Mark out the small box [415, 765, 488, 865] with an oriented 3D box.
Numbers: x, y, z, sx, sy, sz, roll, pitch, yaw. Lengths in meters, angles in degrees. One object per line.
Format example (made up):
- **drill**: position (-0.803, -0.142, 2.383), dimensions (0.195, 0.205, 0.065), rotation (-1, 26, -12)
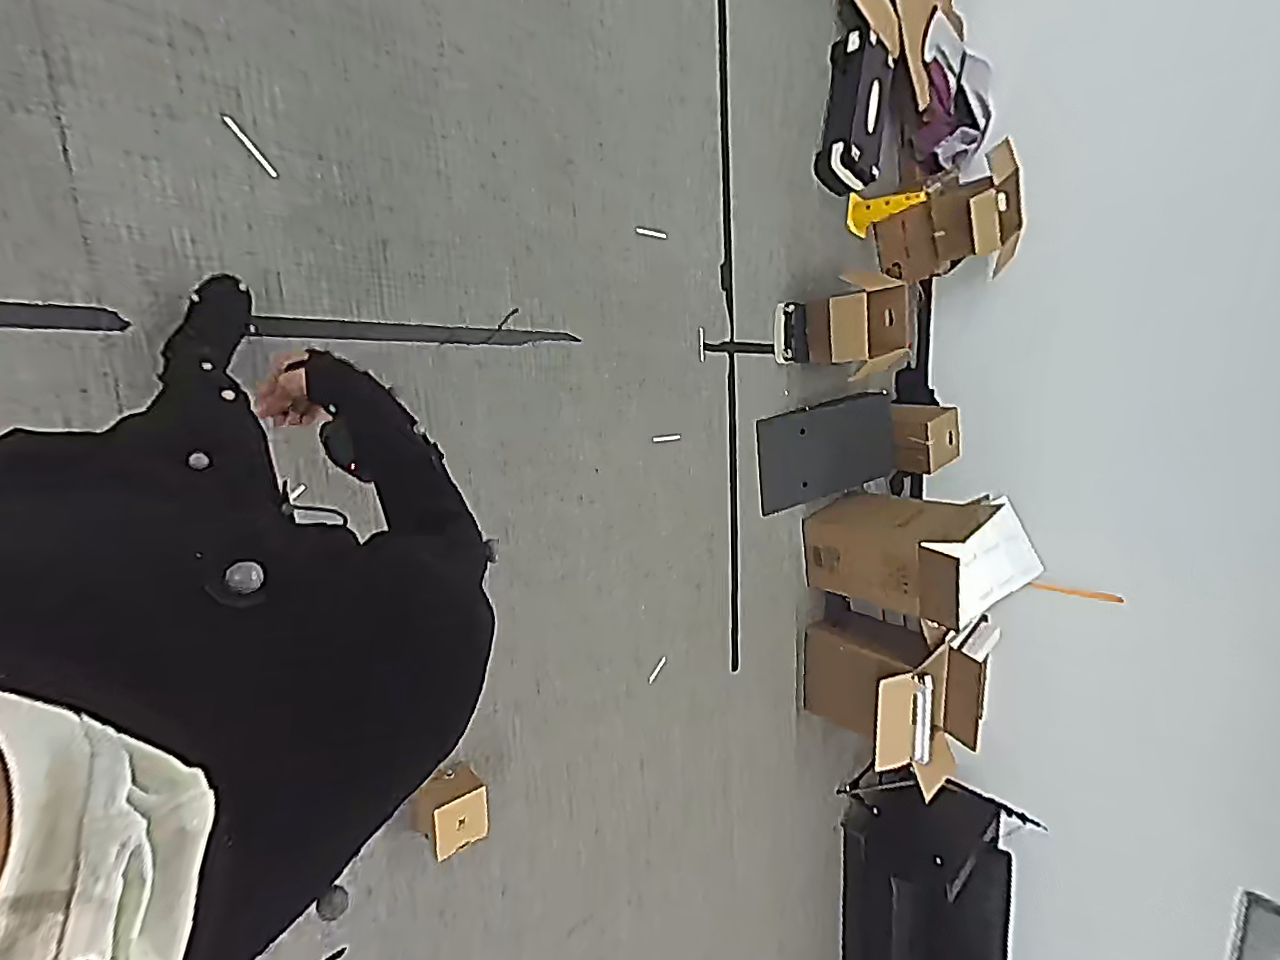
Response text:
- **small box**: position (-0.595, 1.044, 1.703), dimensions (0.168, 0.176, 0.179), rotation (-8, 101, -41)
